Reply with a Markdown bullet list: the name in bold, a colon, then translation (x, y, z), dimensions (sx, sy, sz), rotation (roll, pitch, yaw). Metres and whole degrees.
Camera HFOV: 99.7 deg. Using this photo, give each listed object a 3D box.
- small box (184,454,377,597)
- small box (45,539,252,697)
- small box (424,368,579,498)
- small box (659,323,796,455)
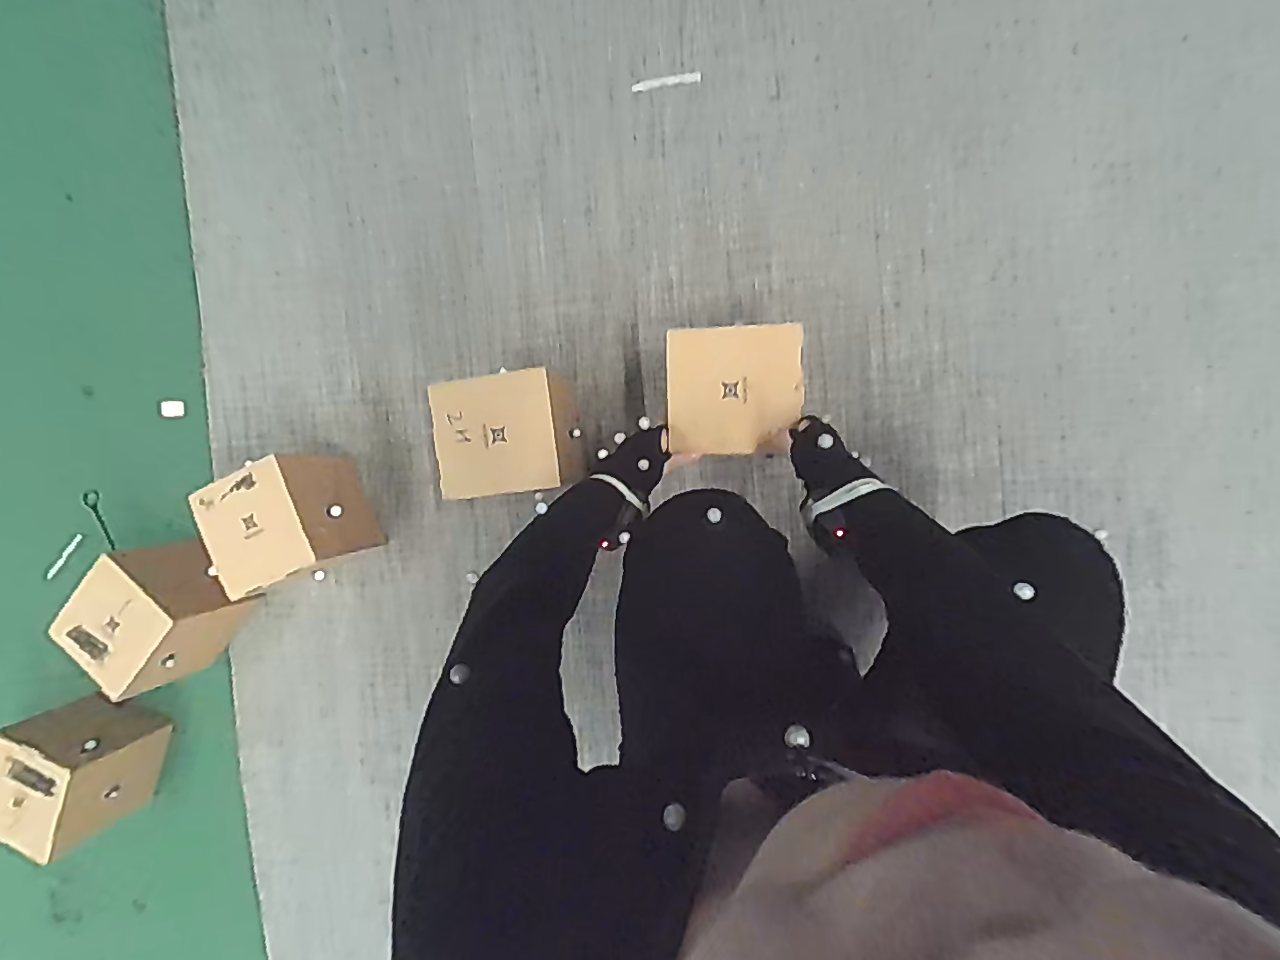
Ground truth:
- **small box**: translation (-0.568, 0.064, 0.879), dimensions (0.168, 0.176, 0.179), rotation (-23, 89, 8)
- **small box**: translation (-0.819, 0.222, 0.920), dimensions (0.168, 0.176, 0.179), rotation (41, 96, 5)
- **small box**: translation (-0.196, -0.067, 0.820), dimensions (0.179, 0.176, 0.168), rotation (-7, 91, 8)
- **small box**: translation (0.123, -0.120, 0.777), dimensions (0.179, 0.176, 0.168), rotation (-1, 92, 7)
